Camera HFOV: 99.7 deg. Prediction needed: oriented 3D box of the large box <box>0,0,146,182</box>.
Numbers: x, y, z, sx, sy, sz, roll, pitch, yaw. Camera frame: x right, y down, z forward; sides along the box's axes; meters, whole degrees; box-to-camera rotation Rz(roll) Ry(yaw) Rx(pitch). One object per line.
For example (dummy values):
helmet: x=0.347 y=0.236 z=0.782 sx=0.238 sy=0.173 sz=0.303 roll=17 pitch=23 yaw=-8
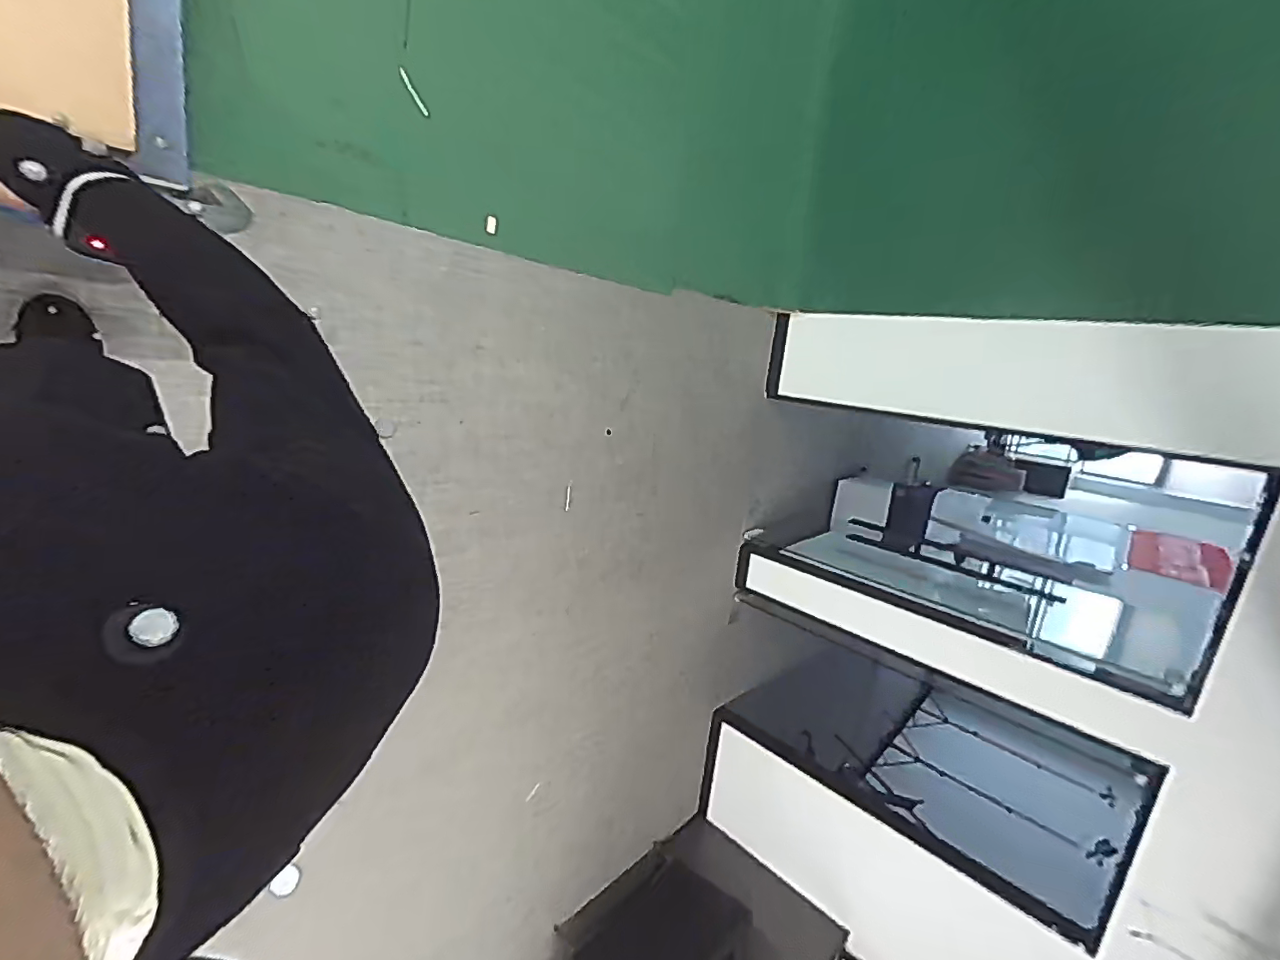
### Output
large box: x=-0.922 y=-0.690 z=0.746 sx=0.320 sy=0.320 sz=0.408 roll=-6 pitch=107 yaw=-47
